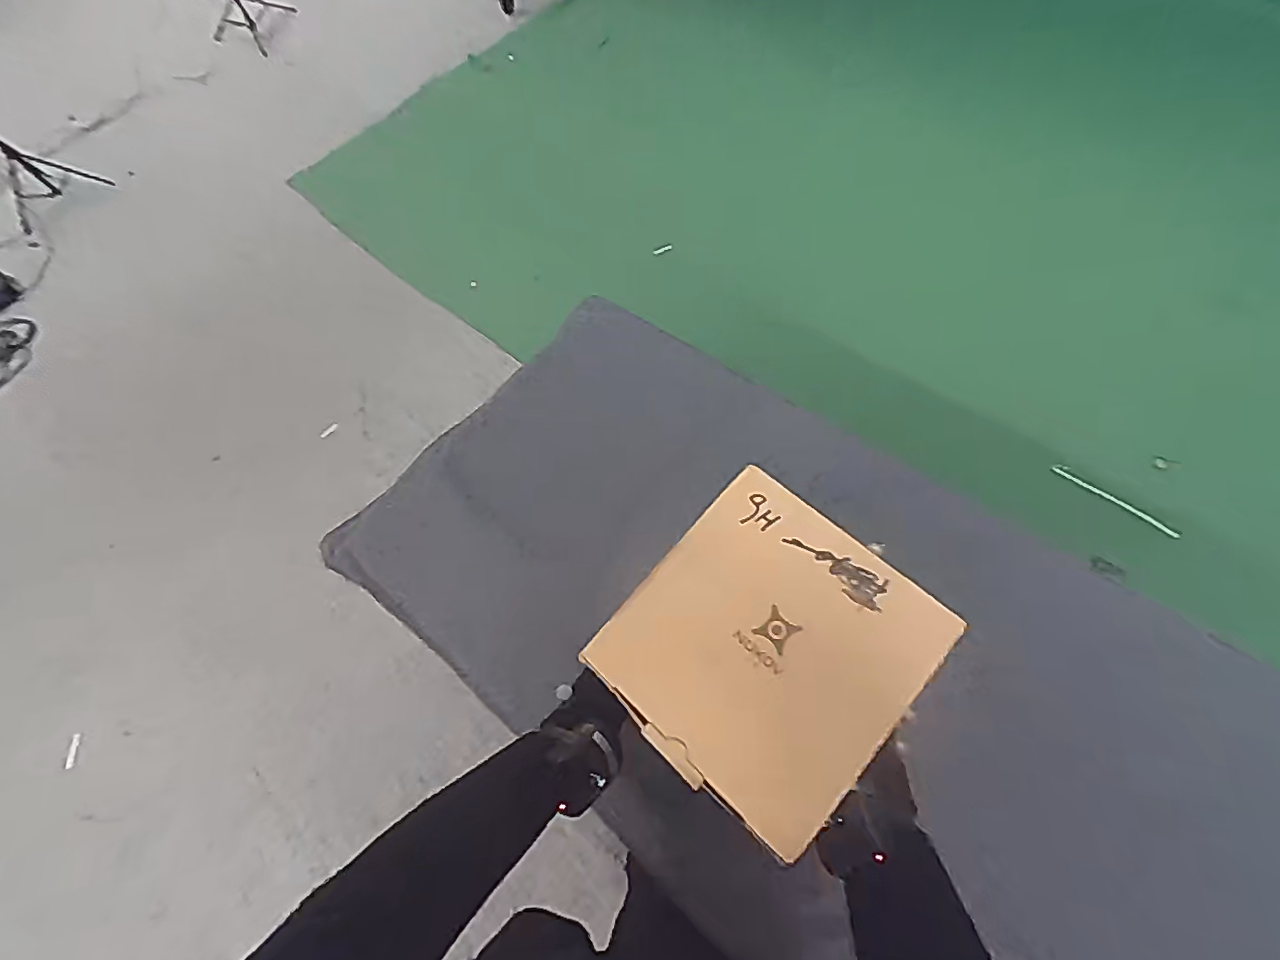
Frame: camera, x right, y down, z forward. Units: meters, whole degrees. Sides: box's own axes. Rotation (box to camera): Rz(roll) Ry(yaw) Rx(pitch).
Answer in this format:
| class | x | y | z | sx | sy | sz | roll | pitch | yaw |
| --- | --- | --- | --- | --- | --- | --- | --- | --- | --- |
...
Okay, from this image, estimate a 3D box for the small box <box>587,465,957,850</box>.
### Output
| class | x | y | z | sx | sy | sz | roll | pitch | yaw |
| --- | --- | --- | --- | --- | --- | --- | --- | --- | --- |
| small box | 0.090 | 0.127 | 0.414 | 0.168 | 0.176 | 0.179 | 40 | 78 | 19 |
